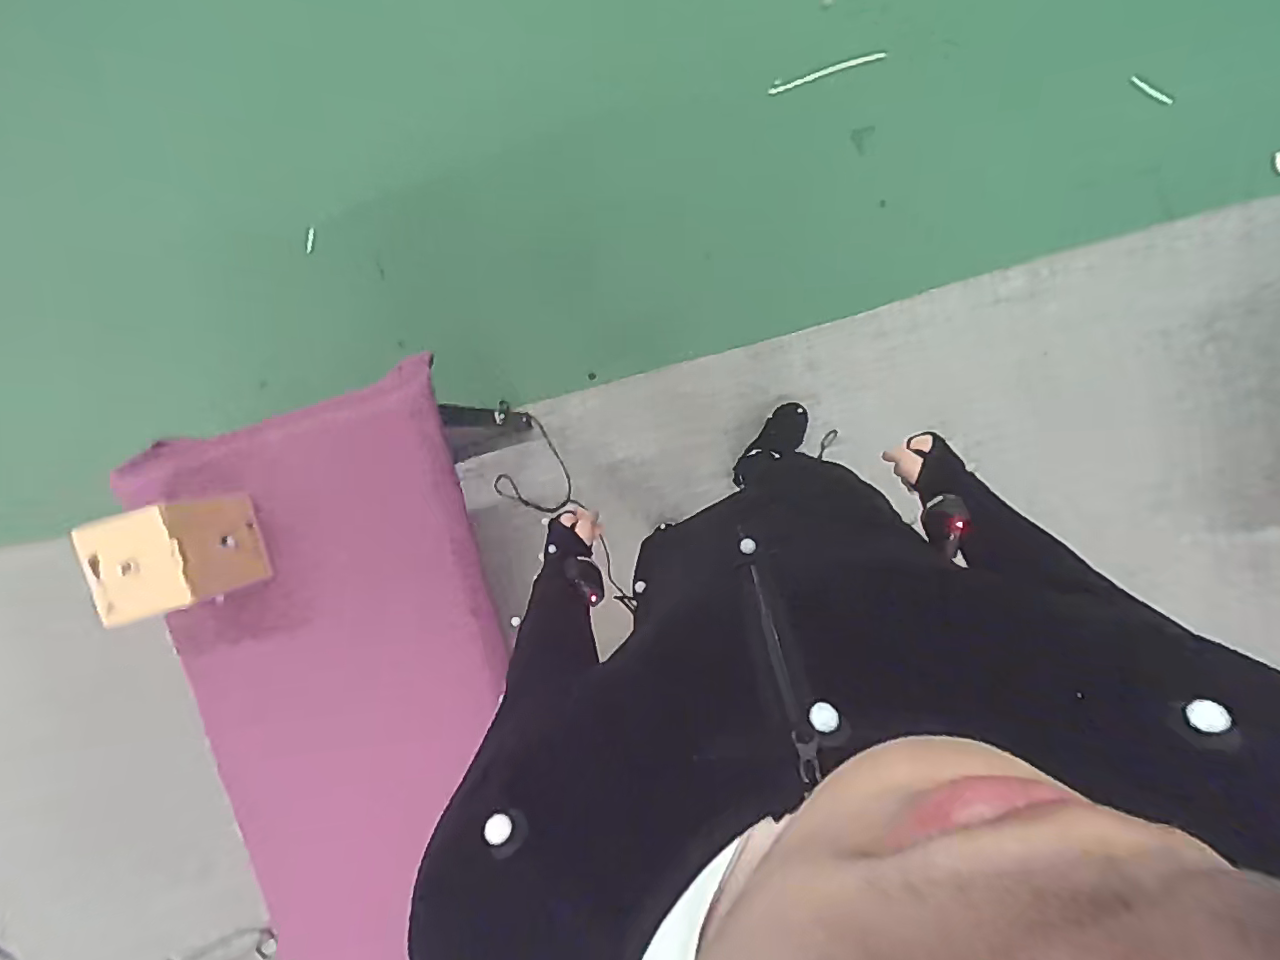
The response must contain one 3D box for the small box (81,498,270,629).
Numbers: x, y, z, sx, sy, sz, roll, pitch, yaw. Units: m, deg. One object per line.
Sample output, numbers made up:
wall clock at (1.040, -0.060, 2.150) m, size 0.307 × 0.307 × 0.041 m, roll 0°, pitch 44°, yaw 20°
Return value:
small box at (-0.791, 0.136, 0.945) m, size 0.179 × 0.176 × 0.168 m, roll -16°, pitch 93°, yaw 8°
